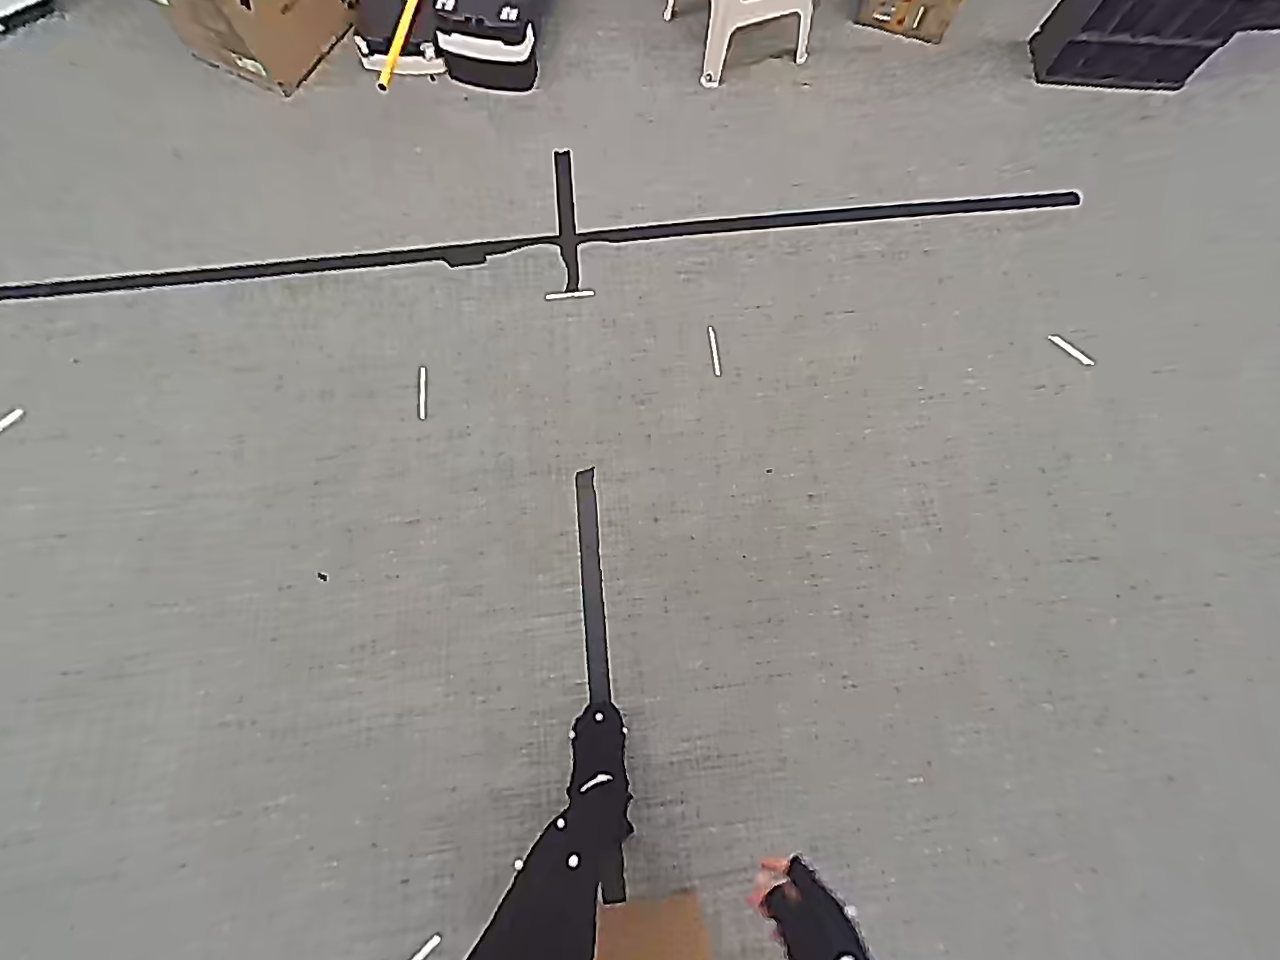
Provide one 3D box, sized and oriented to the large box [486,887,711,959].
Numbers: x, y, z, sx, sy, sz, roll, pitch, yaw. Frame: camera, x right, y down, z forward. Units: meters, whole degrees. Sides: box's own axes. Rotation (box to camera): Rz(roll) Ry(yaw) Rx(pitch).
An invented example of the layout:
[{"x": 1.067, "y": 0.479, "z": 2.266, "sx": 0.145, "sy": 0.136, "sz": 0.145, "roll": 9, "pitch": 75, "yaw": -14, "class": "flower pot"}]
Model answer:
[{"x": -0.062, "y": 0.980, "z": 0.948, "sx": 0.408, "sy": 0.320, "sz": 0.320, "roll": -5, "pitch": 73, "yaw": -2, "class": "large box"}]
